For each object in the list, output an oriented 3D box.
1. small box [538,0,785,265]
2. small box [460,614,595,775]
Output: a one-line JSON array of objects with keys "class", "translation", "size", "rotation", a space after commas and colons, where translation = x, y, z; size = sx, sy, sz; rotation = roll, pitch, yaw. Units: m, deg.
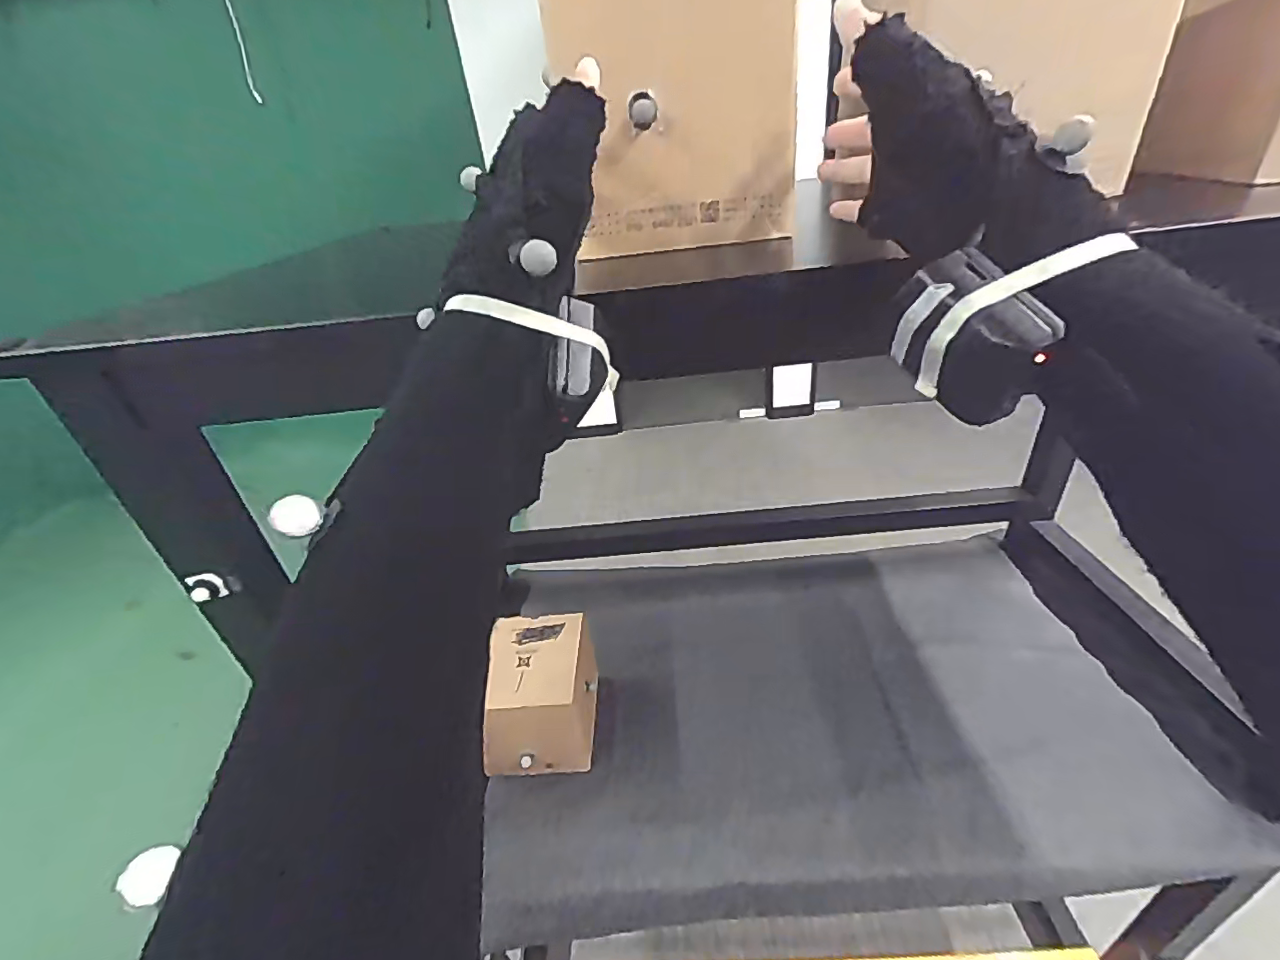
[{"class": "small box", "translation": [0.025, -0.285, 0.456], "size": [0.168, 0.176, 0.179], "rotation": [-5, 31, 4]}, {"class": "small box", "translation": [-0.167, 0.342, 0.871], "size": [0.168, 0.176, 0.179], "rotation": [-5, 31, 3]}]
